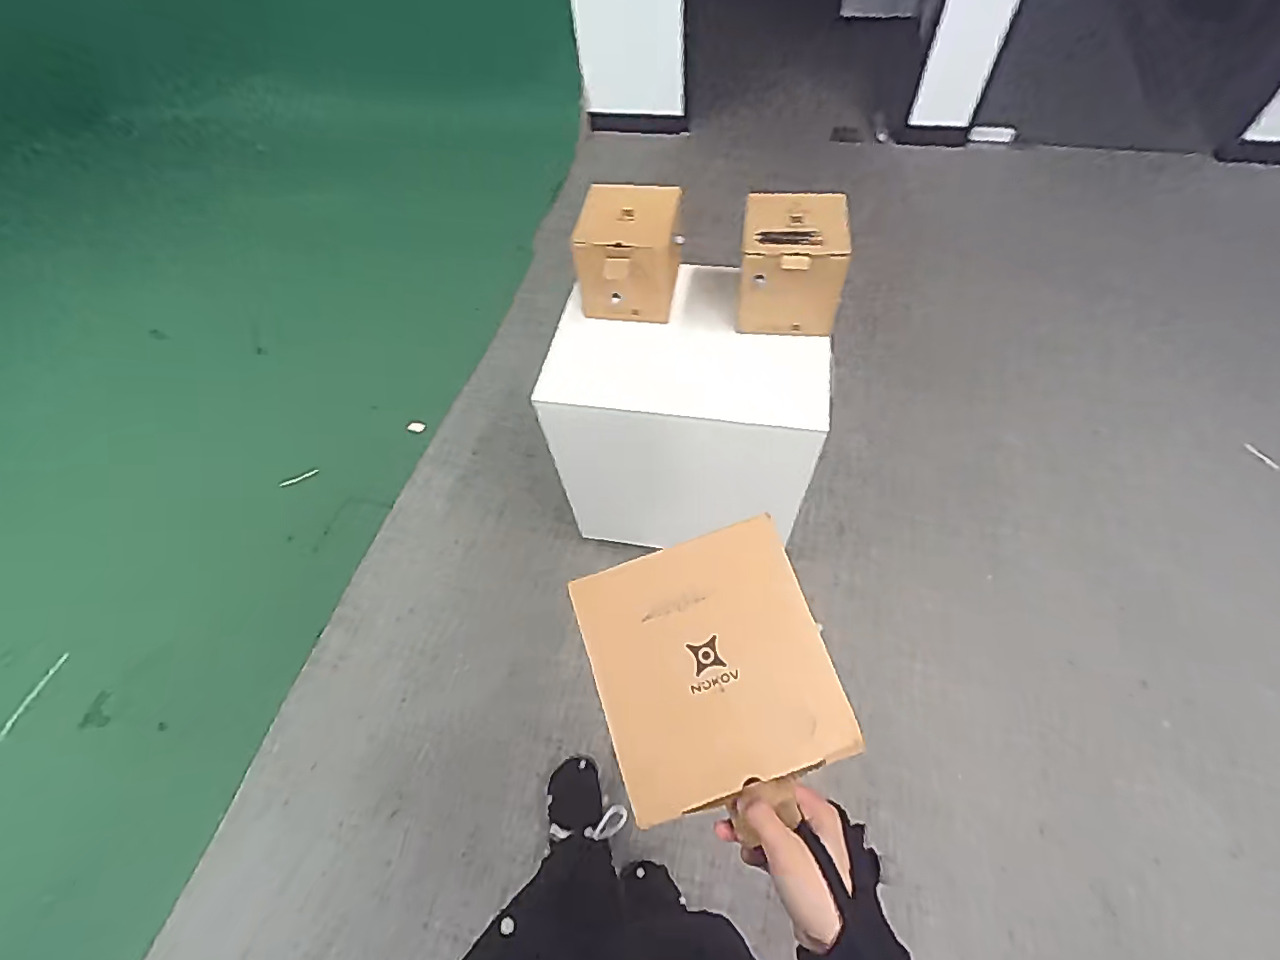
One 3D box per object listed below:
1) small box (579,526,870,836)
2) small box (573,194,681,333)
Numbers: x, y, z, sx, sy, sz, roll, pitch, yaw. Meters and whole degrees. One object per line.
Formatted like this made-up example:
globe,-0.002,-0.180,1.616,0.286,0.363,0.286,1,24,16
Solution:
small box,0.062,0.161,0.464,0.168,0.176,0.179,-19,70,-2
small box,-0.017,-0.407,1.020,0.168,0.176,0.179,7,60,8
